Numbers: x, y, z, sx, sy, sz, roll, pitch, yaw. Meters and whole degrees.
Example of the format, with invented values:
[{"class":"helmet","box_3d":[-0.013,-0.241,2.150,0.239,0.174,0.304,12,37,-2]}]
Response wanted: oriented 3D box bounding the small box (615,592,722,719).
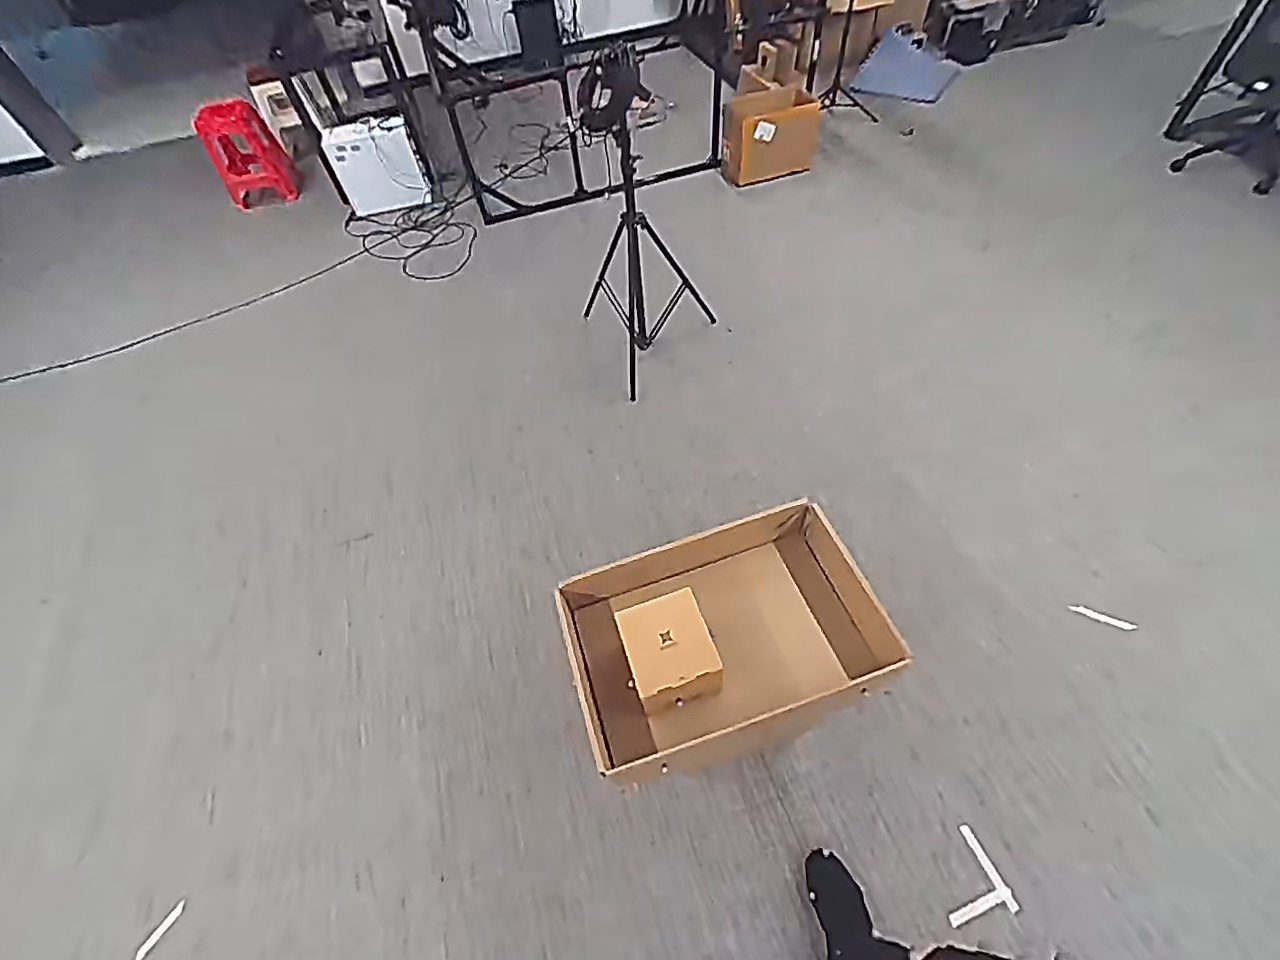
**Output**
[{"class":"small box","box_3d":[0.057,0.362,1.109,0.168,0.176,0.179,-18,55,-7]}]
